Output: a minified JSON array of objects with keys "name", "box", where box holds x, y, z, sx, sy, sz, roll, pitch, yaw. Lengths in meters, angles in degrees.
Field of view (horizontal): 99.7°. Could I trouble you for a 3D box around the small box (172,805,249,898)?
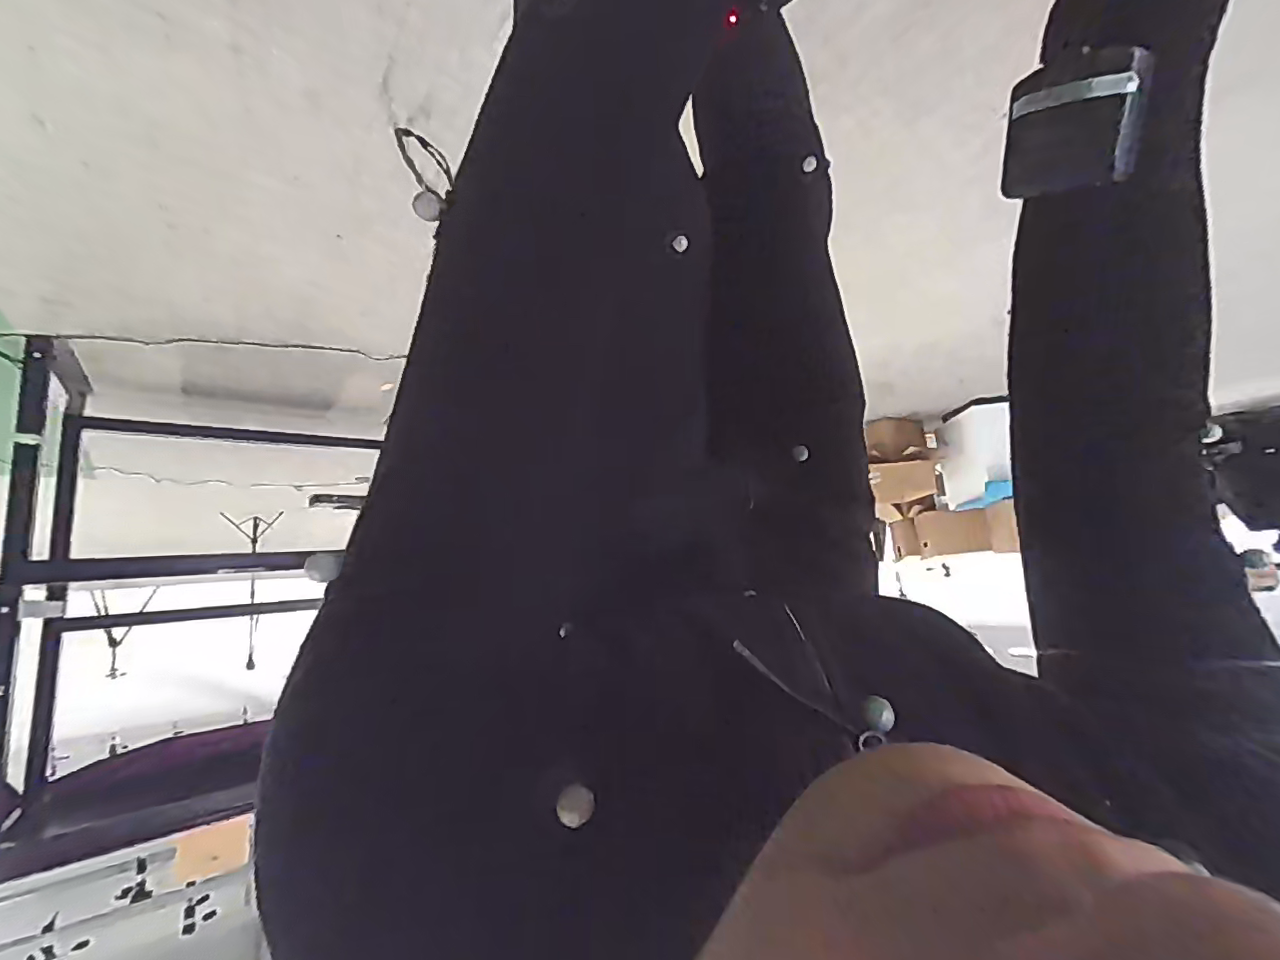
[{"name":"small box","box":[-1.330,1.139,1.675,0.179,0.176,0.168,2,168,-39]}]
